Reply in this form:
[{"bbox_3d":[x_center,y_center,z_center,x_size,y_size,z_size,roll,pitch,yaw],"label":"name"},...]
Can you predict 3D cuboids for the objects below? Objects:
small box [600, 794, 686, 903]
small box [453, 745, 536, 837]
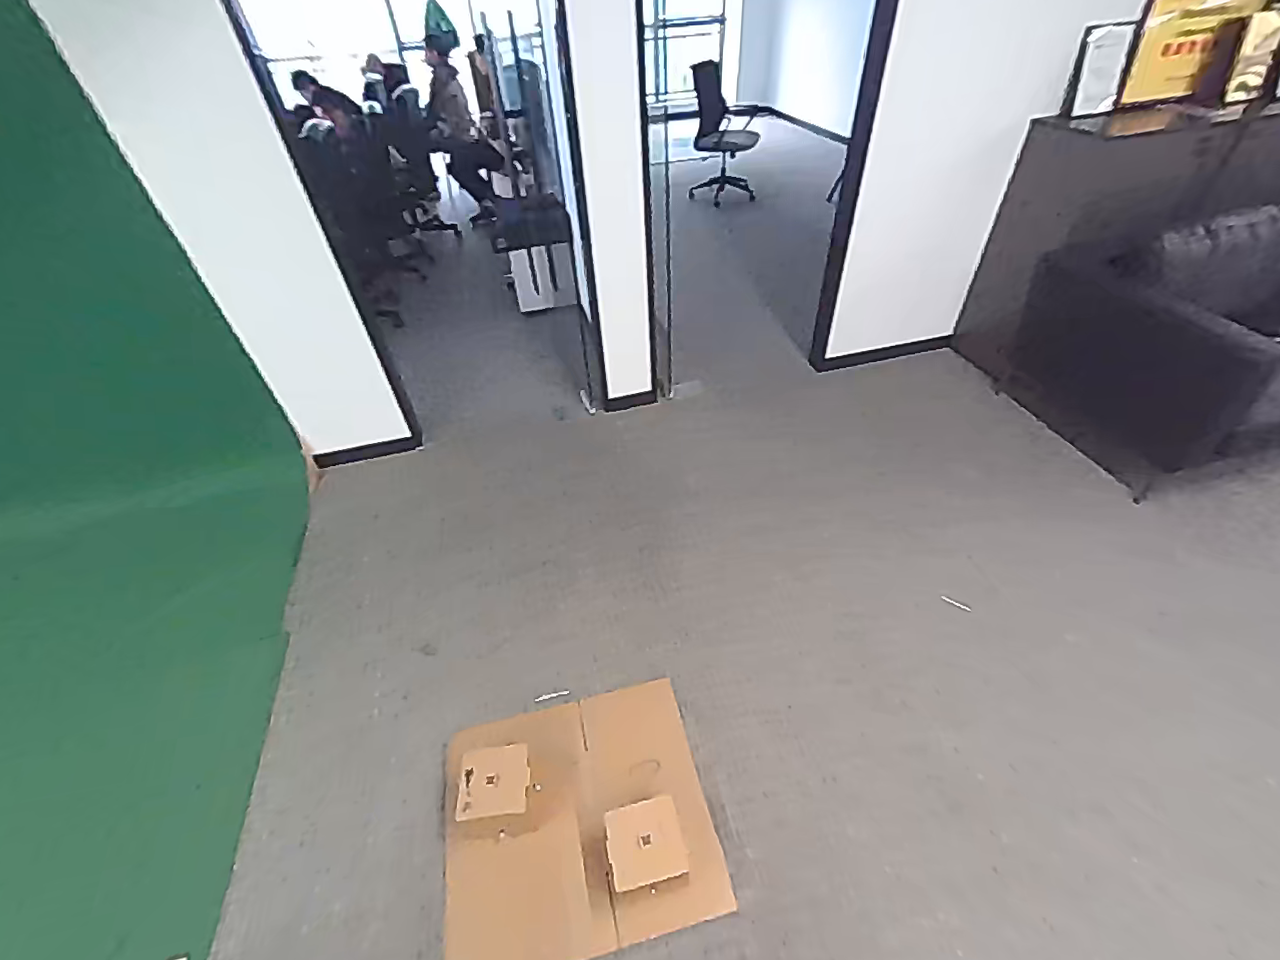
[{"bbox_3d":[0.009,0.902,1.320,0.179,0.176,0.168,-11,44,-7],"label":"small box"},{"bbox_3d":[-0.374,0.821,1.425,0.179,0.176,0.168,-5,43,-3],"label":"small box"}]
